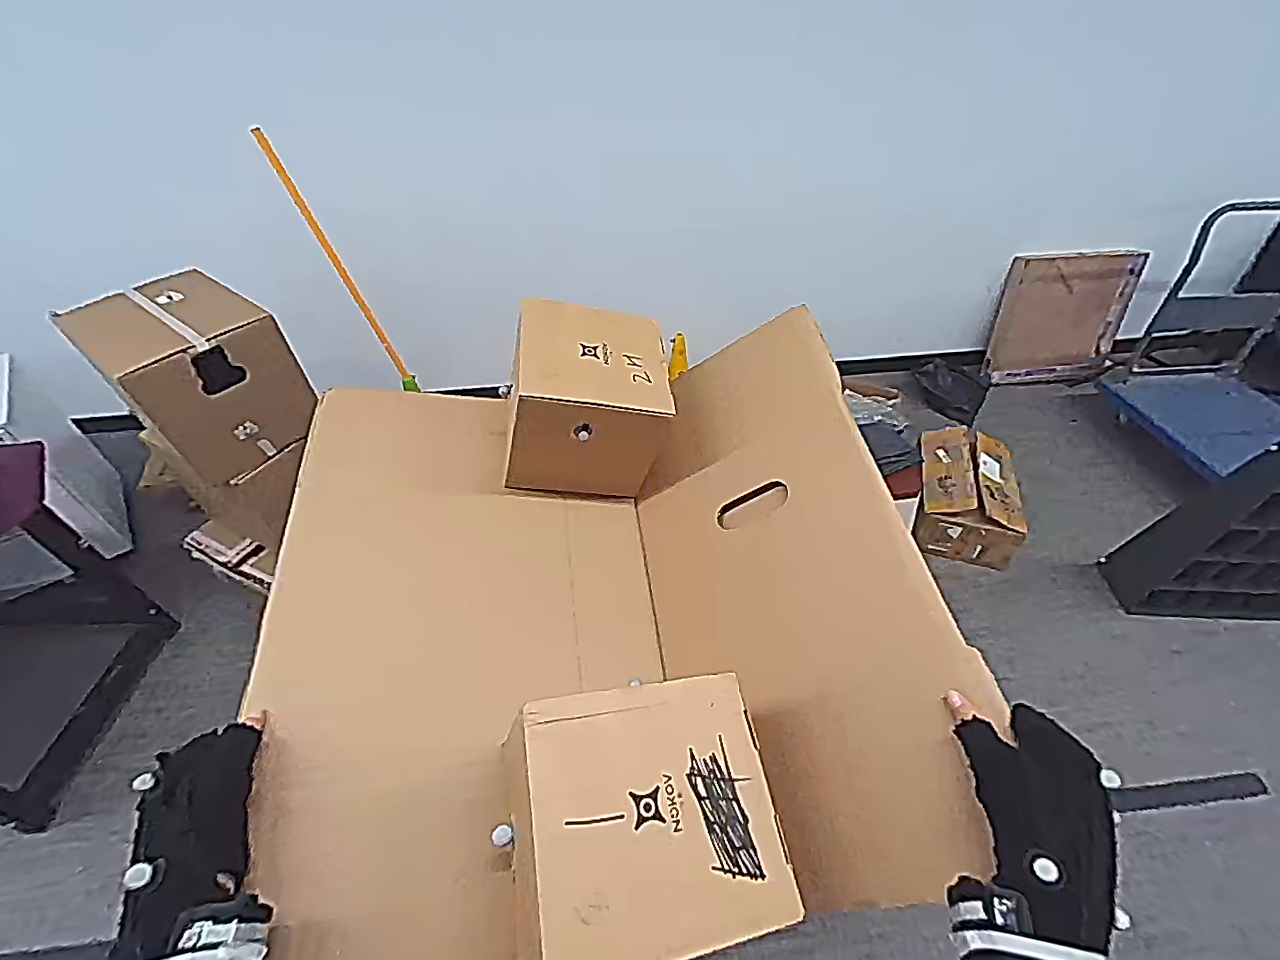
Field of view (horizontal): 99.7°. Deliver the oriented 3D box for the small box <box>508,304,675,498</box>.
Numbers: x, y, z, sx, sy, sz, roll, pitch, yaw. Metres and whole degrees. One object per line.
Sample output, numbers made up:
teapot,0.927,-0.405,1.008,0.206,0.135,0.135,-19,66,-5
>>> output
small box,-0.070,-0.091,0.686,0.179,0.176,0.168,6,53,-16
